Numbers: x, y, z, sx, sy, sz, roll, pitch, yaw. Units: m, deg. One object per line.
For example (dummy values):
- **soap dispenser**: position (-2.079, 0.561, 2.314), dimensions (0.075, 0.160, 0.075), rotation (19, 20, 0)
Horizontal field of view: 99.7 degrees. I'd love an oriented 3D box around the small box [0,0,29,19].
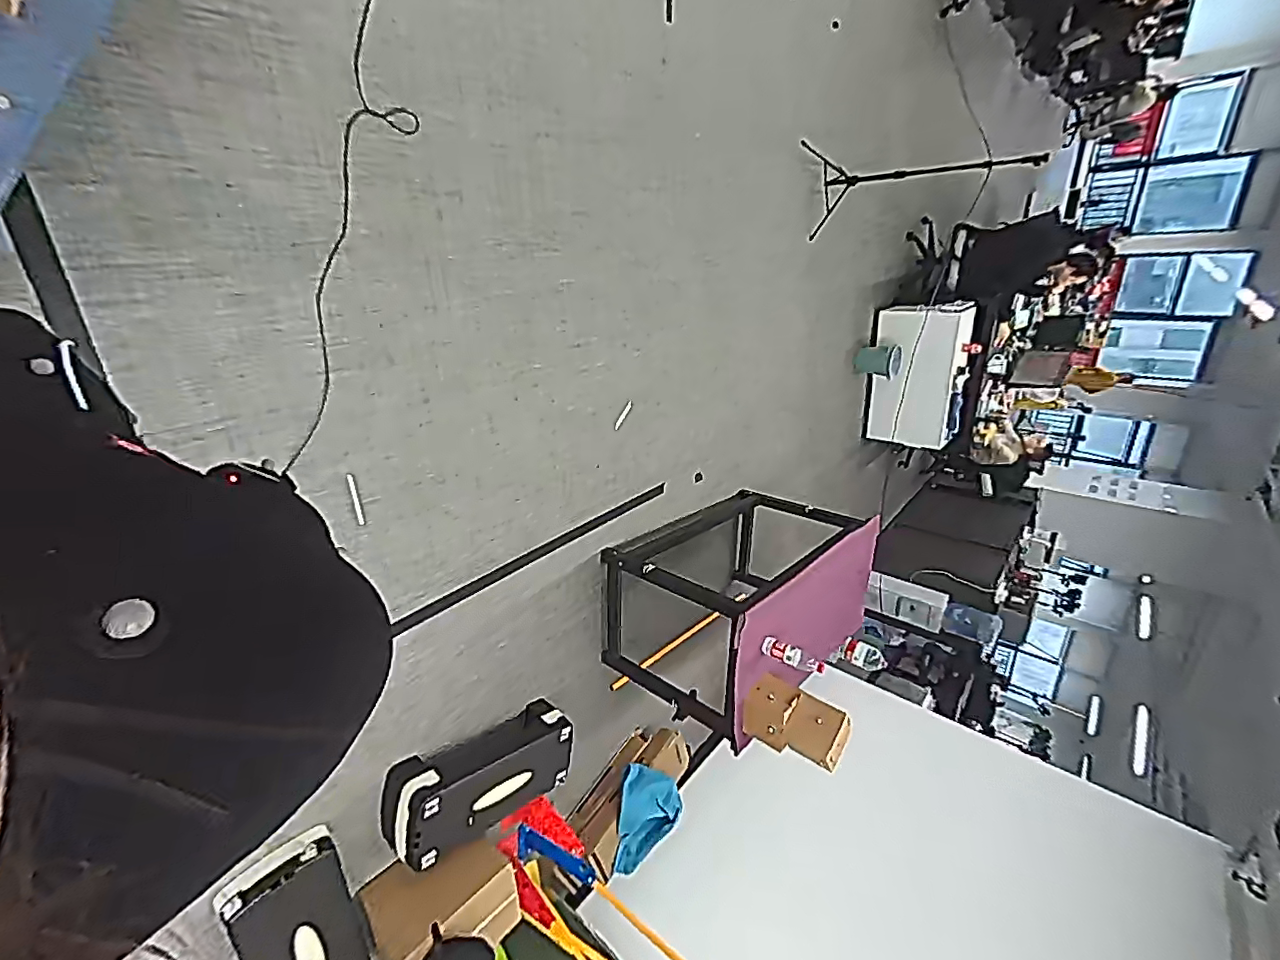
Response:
- **small box**: position (-0.882, -0.741, 0.677), dimensions (0.179, 0.176, 0.168), rotation (20, 87, -50)
